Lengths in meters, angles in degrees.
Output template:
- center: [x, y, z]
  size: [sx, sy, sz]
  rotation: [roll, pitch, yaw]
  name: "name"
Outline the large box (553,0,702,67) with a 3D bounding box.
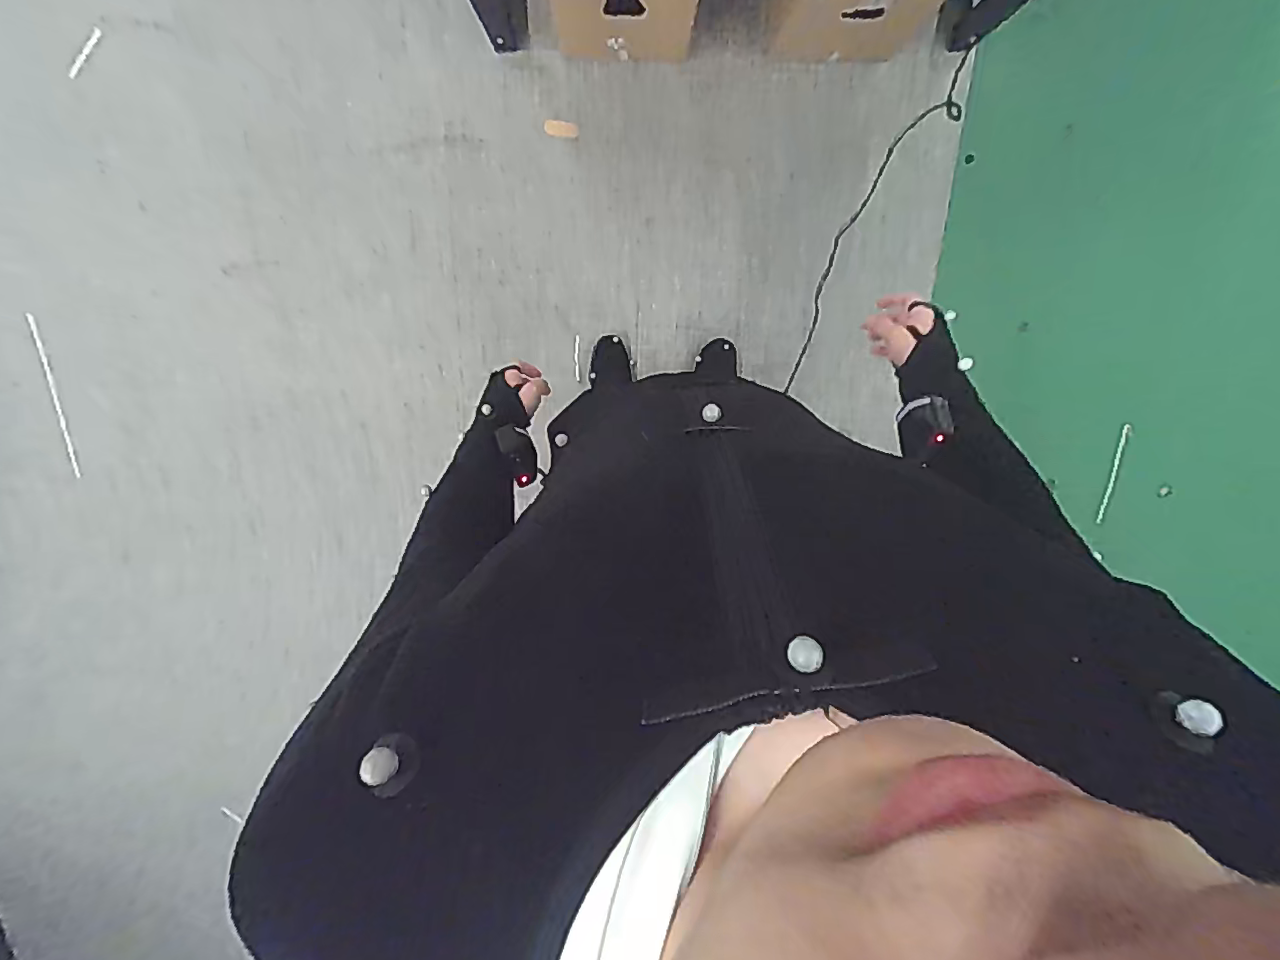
- center: [-0.025, -1.183, 1.154]
  size: [0.320, 0.320, 0.408]
  rotation: [1, 105, -1]
  name: "large box"
